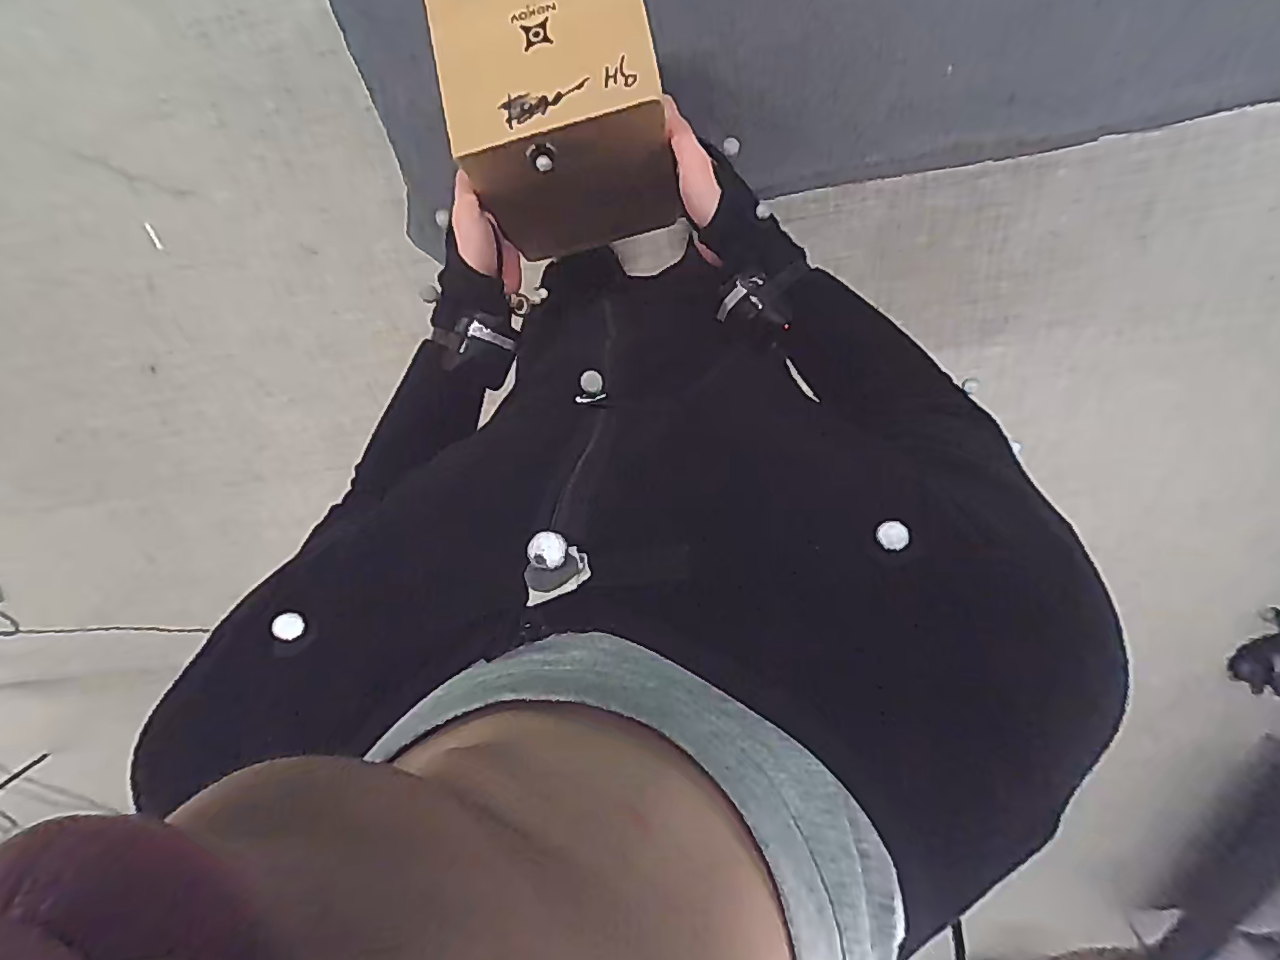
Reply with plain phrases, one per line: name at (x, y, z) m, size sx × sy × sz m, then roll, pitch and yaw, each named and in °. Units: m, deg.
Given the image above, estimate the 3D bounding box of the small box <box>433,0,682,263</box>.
small box at (-0.062, -0.331, 0.486) m, size 0.168 × 0.176 × 0.179 m, roll -12°, pitch 83°, yaw 8°
